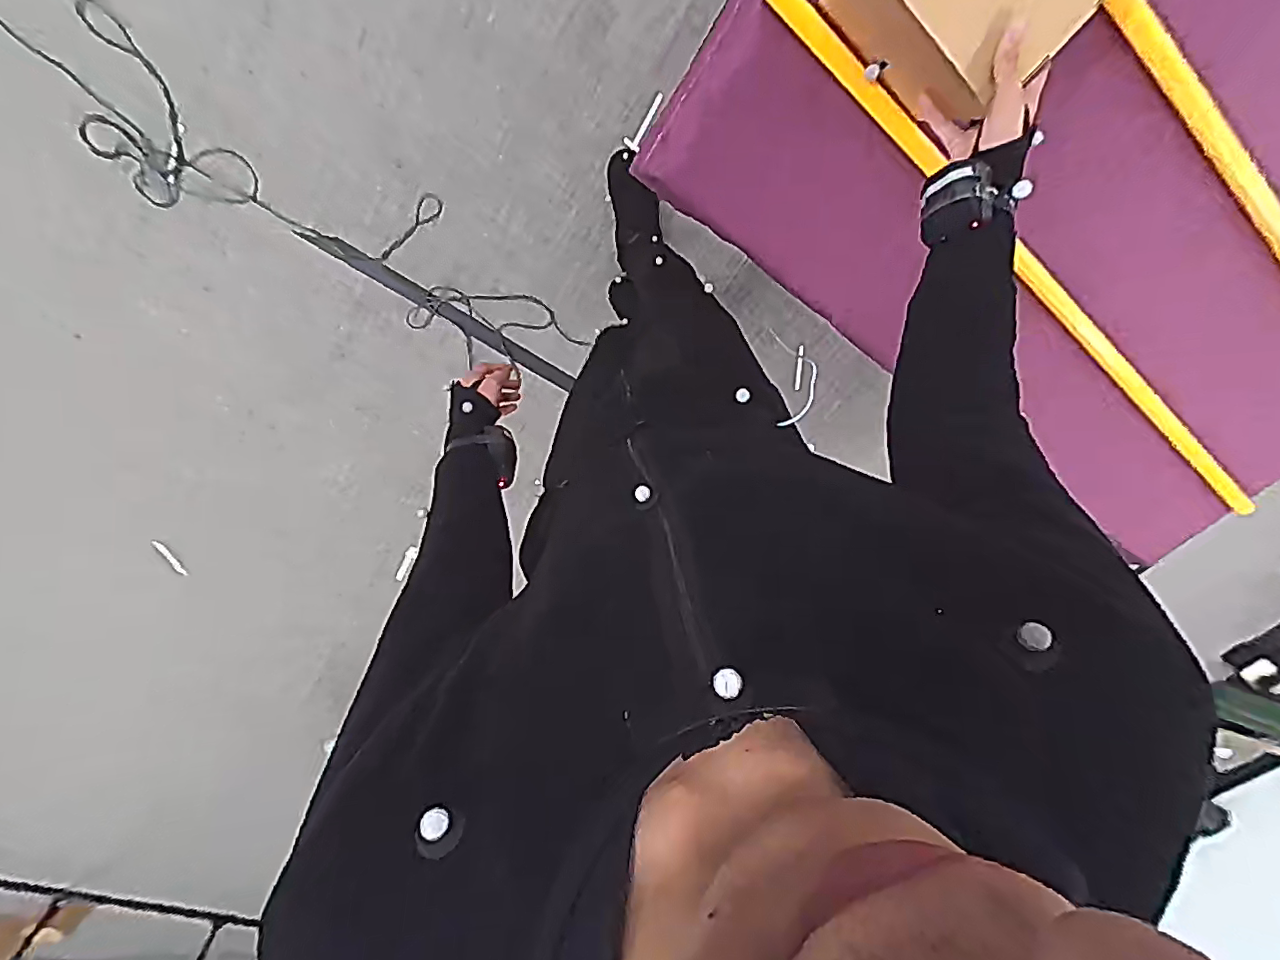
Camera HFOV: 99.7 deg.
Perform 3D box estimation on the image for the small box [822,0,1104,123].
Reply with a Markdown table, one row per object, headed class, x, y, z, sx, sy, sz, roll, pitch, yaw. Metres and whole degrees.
| class | x | y | z | sx | sy | sz | roll | pitch | yaw |
| --- | --- | --- | --- | --- | --- | --- | --- | --- | --- |
| small box | 0.311 | -0.482 | 0.515 | 0.179 | 0.176 | 0.168 | 32 | 116 | -22 |
